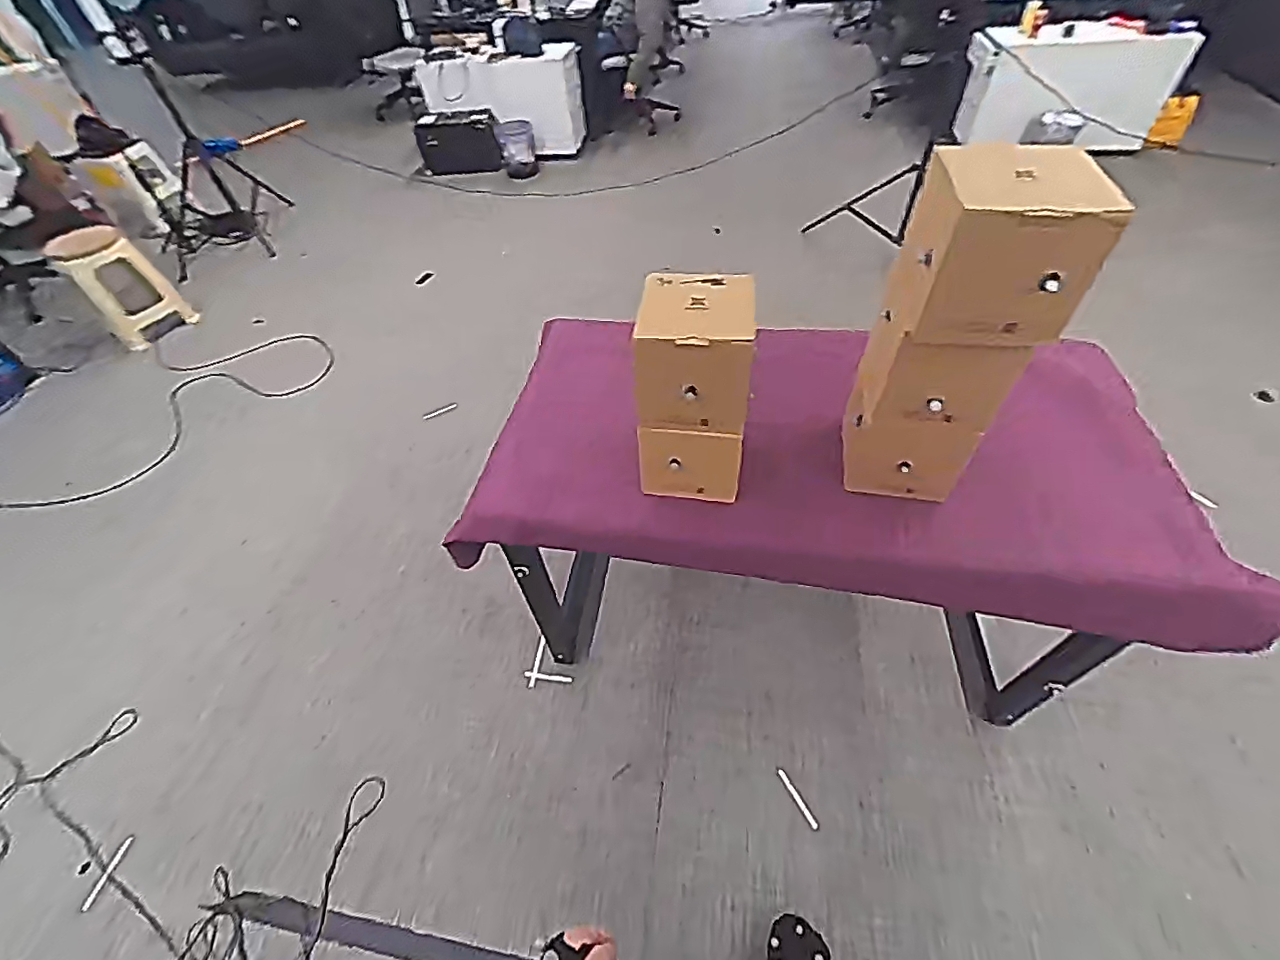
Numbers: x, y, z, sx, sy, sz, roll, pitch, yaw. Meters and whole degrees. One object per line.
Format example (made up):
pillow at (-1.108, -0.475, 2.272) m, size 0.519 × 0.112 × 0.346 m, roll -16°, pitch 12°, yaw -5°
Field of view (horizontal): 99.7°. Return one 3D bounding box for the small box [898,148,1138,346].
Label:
small box at (0.436, -0.283, 0.663) m, size 0.168 × 0.176 × 0.179 m, roll 5°, pitch 50°, yaw 8°

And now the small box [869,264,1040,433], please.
small box at (0.448, -0.195, 0.801) m, size 0.168 × 0.176 × 0.179 m, roll 7°, pitch 51°, yaw 11°

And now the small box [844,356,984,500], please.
small box at (0.454, -0.087, 0.925) m, size 0.168 × 0.176 × 0.179 m, roll 8°, pitch 51°, yaw 10°

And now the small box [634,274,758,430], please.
small box at (0.089, -0.194, 0.829) m, size 0.168 × 0.176 × 0.179 m, roll 4°, pitch 50°, yaw 7°

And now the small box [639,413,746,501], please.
small box at (0.099, -0.082, 0.949) m, size 0.168 × 0.176 × 0.179 m, roll 6°, pitch 50°, yaw 9°
